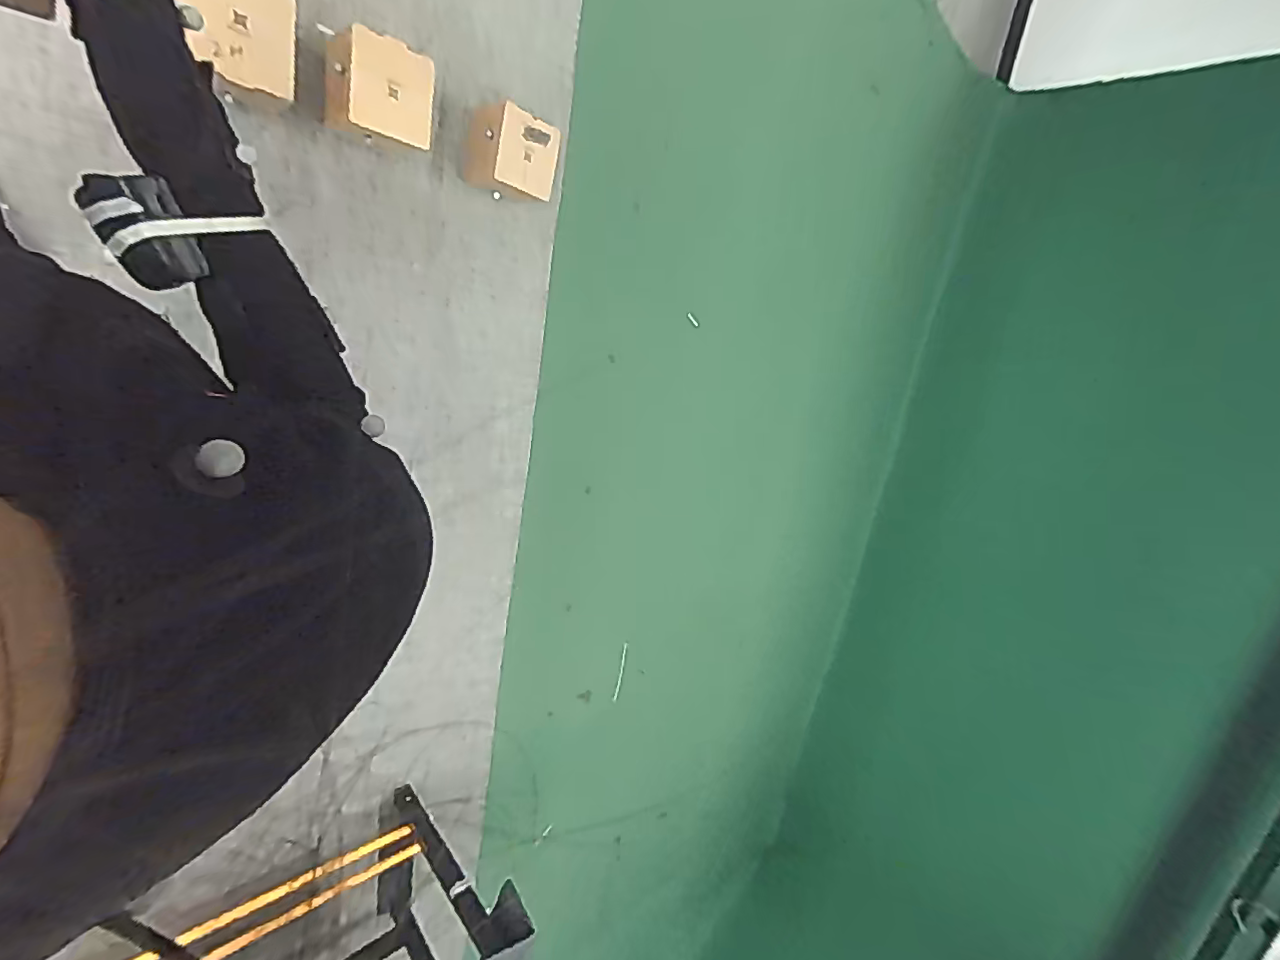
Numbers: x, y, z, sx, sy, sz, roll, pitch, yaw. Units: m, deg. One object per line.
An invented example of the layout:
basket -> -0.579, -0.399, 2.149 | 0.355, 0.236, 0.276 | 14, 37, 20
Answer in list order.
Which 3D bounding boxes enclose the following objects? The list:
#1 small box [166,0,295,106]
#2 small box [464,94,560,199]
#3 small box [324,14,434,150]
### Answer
small box -> -0.739, -0.813, 0.974 | 0.168, 0.176, 0.179 | -4, 110, -44
small box -> -0.332, -0.844, 1.387 | 0.168, 0.176, 0.179 | 0, 109, -46
small box -> -0.561, -0.832, 1.156 | 0.168, 0.176, 0.179 | -5, 110, -45
